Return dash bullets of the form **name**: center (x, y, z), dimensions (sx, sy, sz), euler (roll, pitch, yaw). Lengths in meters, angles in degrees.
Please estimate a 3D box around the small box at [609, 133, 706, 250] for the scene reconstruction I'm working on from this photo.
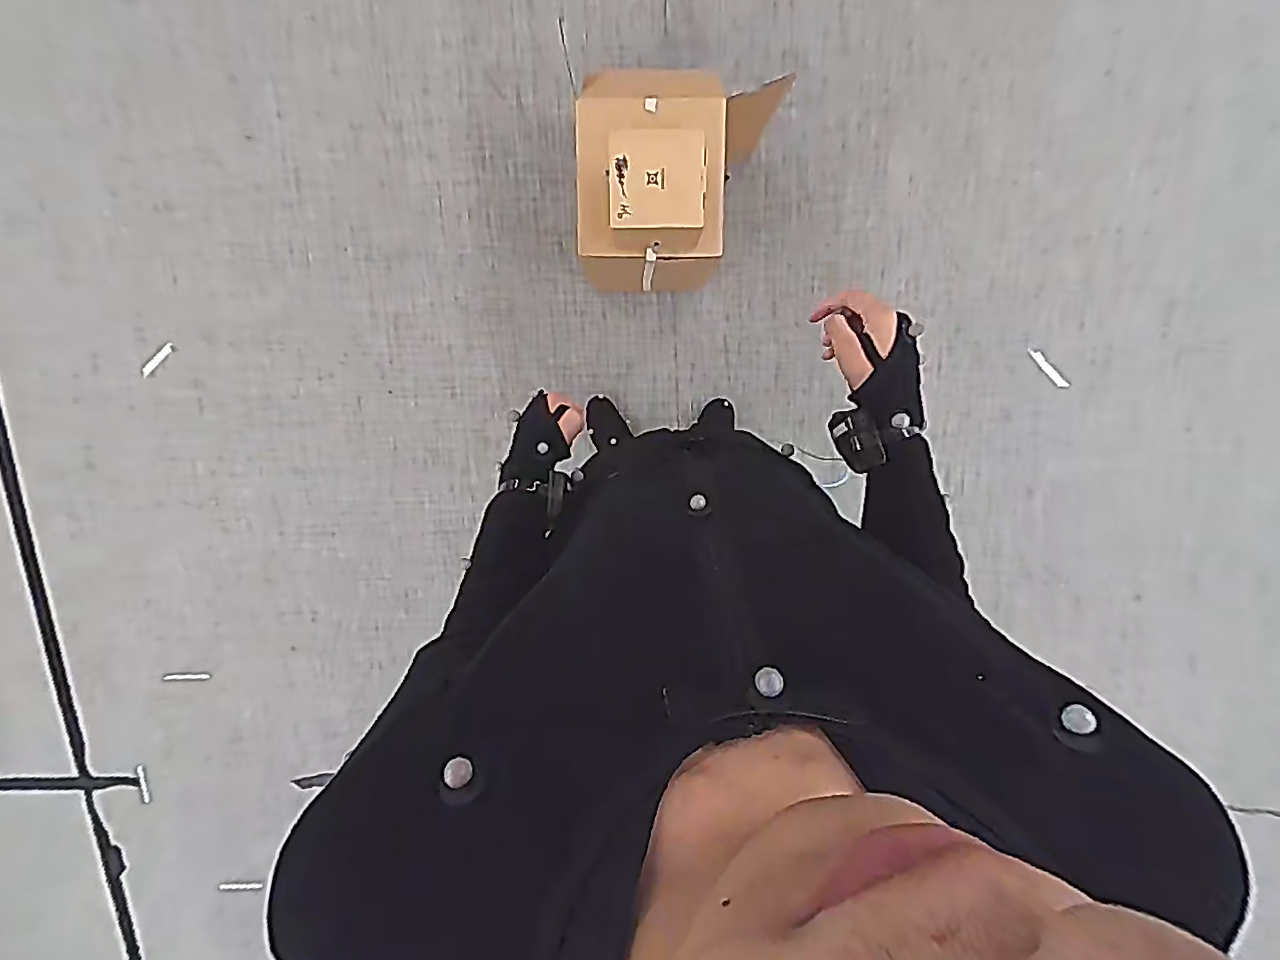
- **small box**: center (0.030, -0.558, 1.064), dimensions (0.179, 0.176, 0.168), euler (0, 102, 0)
